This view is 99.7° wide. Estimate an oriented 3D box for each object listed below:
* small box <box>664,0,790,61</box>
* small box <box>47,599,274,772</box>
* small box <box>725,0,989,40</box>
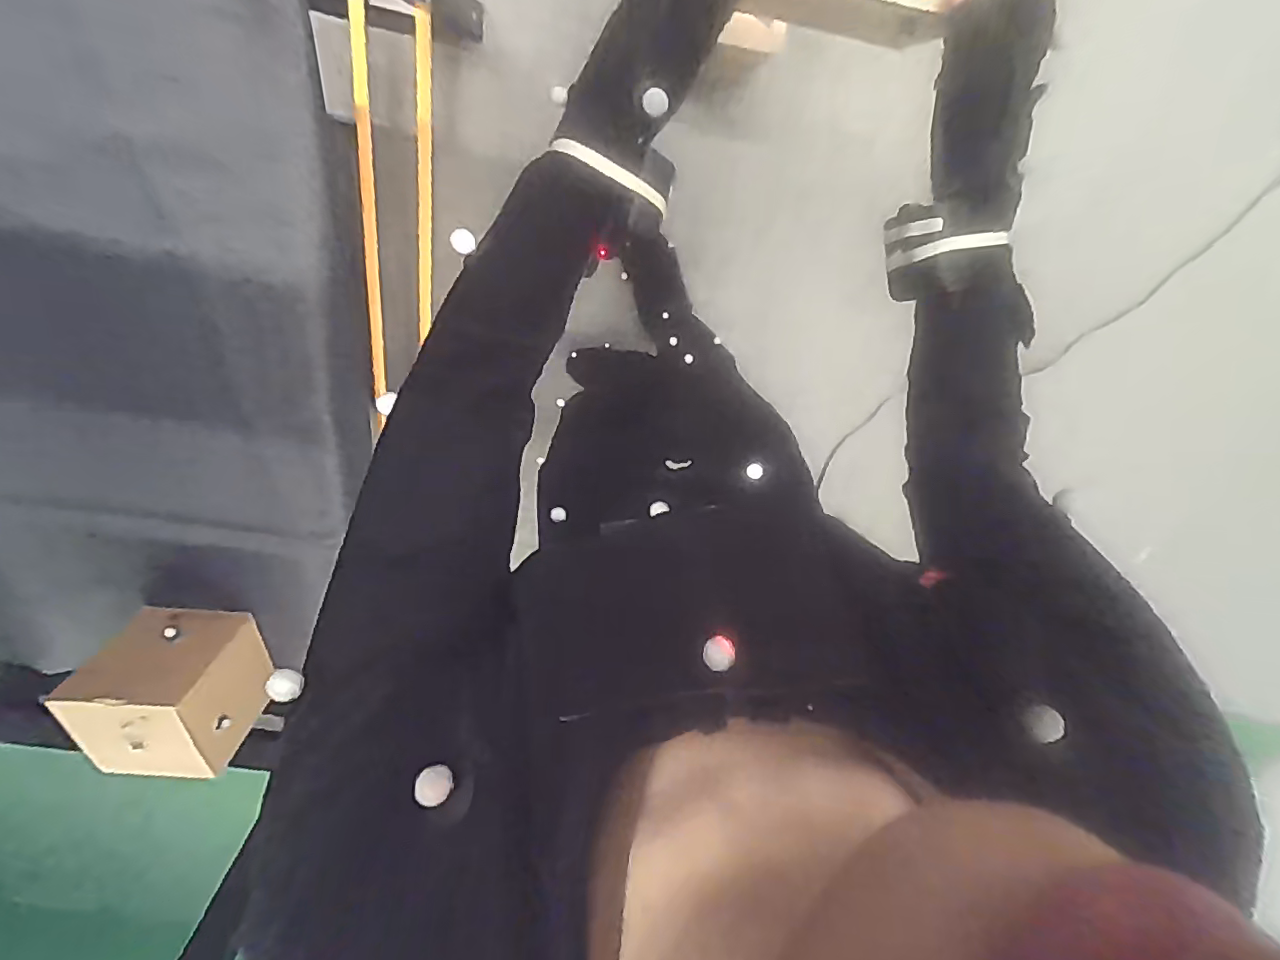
[{"bbox_3d":[0.135,-0.740,0.798,0.179,0.176,0.168,9,123,-3],"label":"small box"},{"bbox_3d":[-0.695,0.307,0.816,0.168,0.176,0.179,5,122,-3],"label":"small box"},{"bbox_3d":[0.155,-0.420,0.365,0.179,0.176,0.168,11,126,-3],"label":"small box"}]
